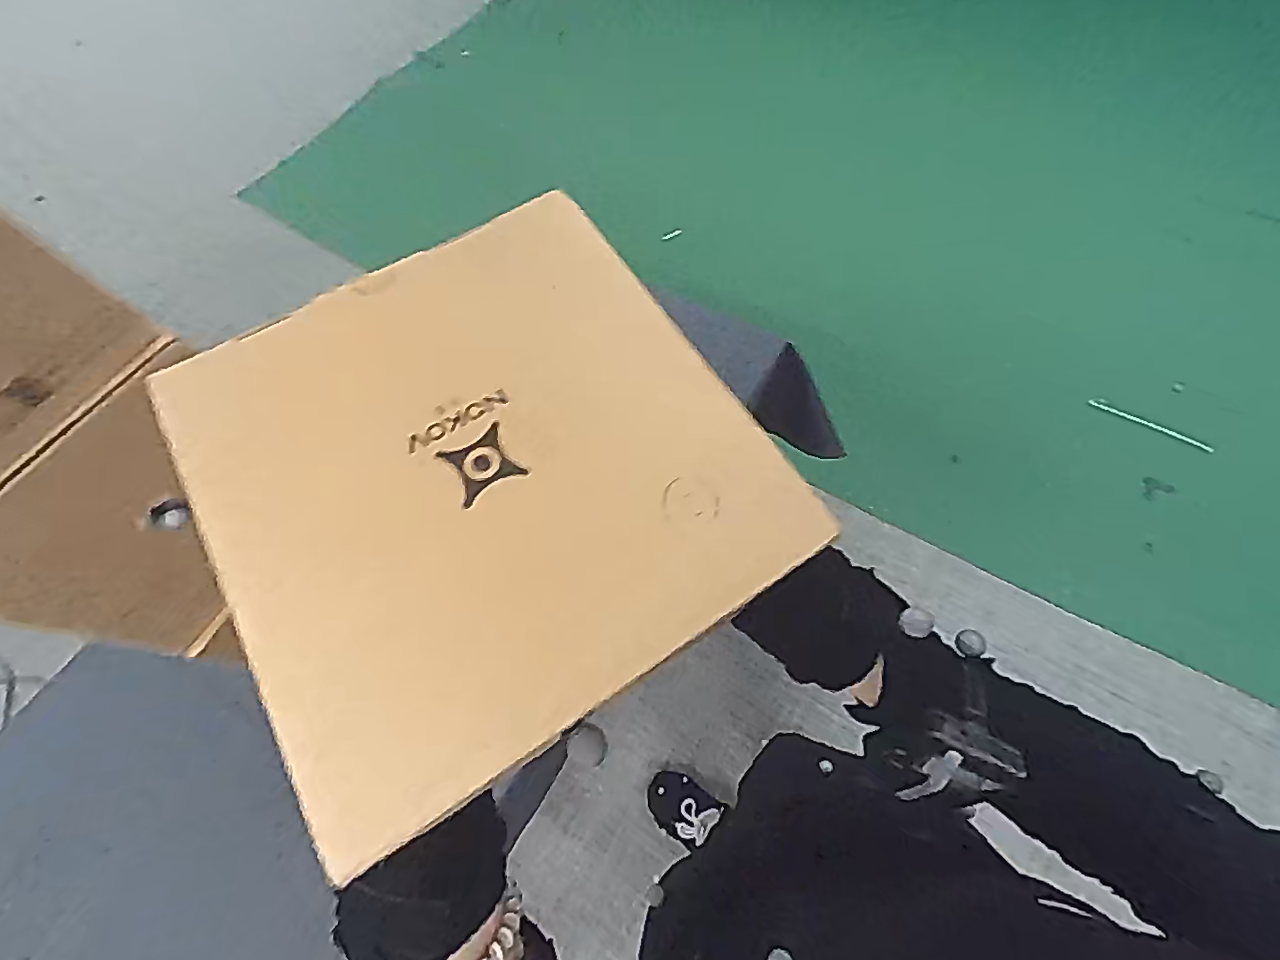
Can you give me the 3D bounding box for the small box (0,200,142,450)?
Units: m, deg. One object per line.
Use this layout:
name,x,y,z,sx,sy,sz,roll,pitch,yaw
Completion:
small box,-0.389,-0.095,0.231,0.179,0.176,0.168,27,69,17

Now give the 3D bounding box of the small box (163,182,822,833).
small box,-0.054,0.014,0.254,0.168,0.176,0.179,-31,71,-12

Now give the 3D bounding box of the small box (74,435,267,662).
small box,-0.343,0.057,0.517,0.168,0.176,0.179,26,69,17
